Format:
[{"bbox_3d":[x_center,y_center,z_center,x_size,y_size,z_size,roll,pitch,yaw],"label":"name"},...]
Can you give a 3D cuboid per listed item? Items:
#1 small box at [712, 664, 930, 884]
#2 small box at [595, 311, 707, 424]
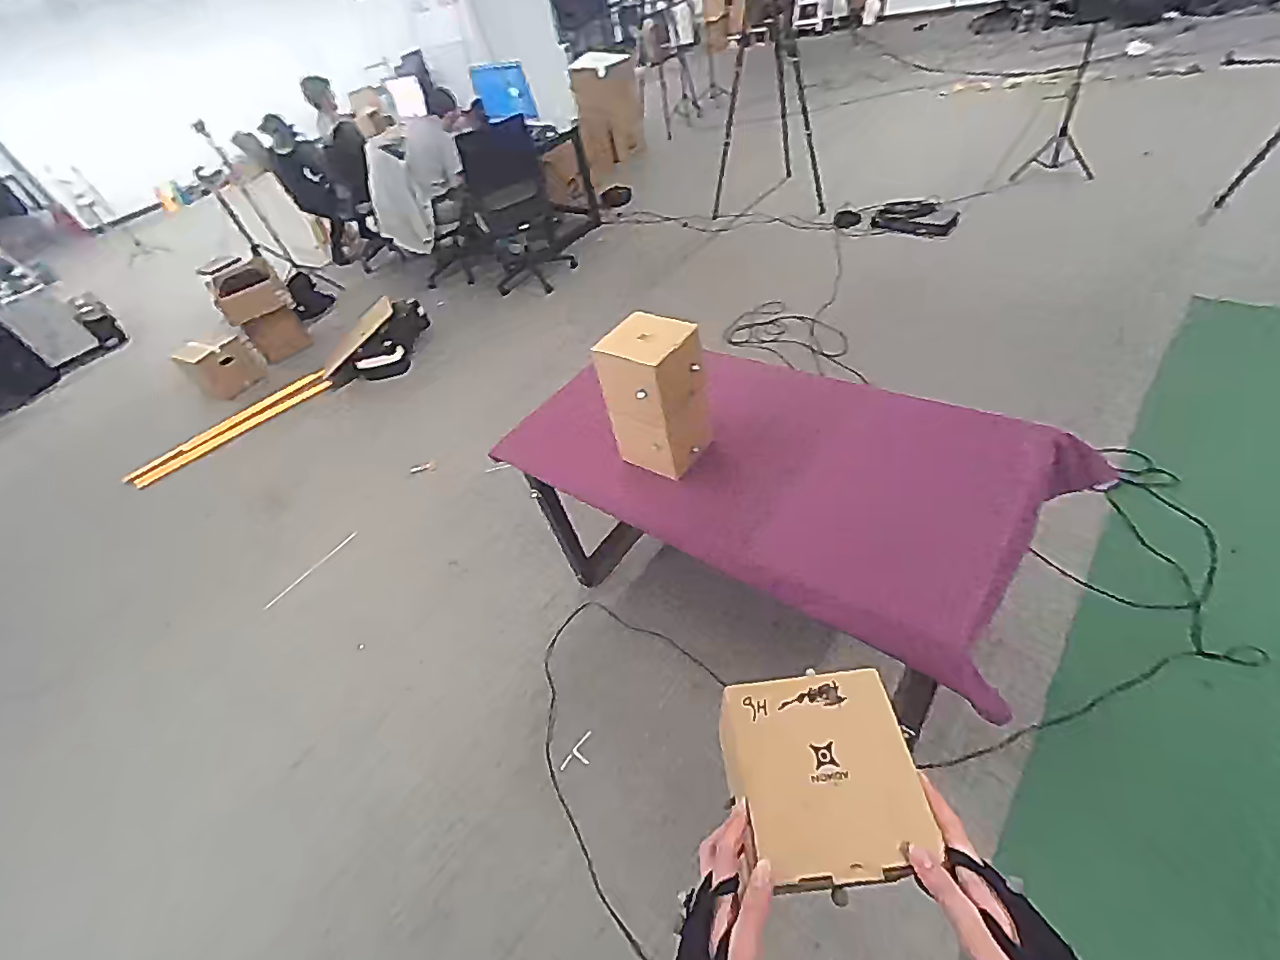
[{"bbox_3d":[0.173,0.322,0.584,0.168,0.176,0.179,-7,50,0],"label":"small box"},{"bbox_3d":[0.033,-0.247,1.200,0.179,0.176,0.168,24,56,33],"label":"small box"}]
